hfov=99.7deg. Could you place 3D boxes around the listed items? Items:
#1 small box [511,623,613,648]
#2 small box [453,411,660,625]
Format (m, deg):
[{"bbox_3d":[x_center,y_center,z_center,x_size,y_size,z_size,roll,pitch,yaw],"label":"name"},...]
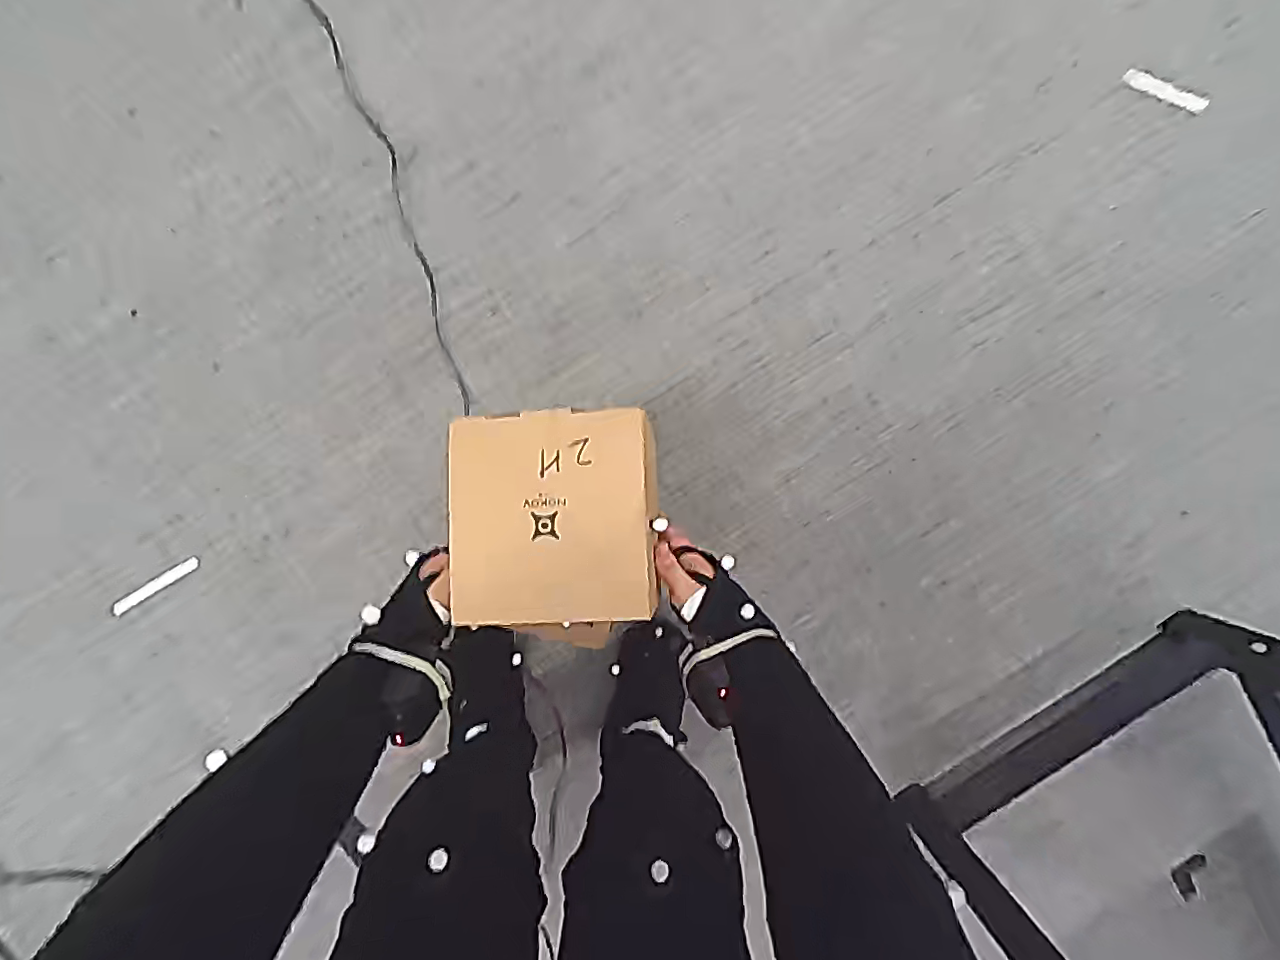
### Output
[{"bbox_3d":[-0.108,0.094,0.718,0.179,0.176,0.168,16,95,-6],"label":"small box"},{"bbox_3d":[-0.068,0.038,0.528,0.168,0.176,0.179,-3,84,4],"label":"small box"}]
